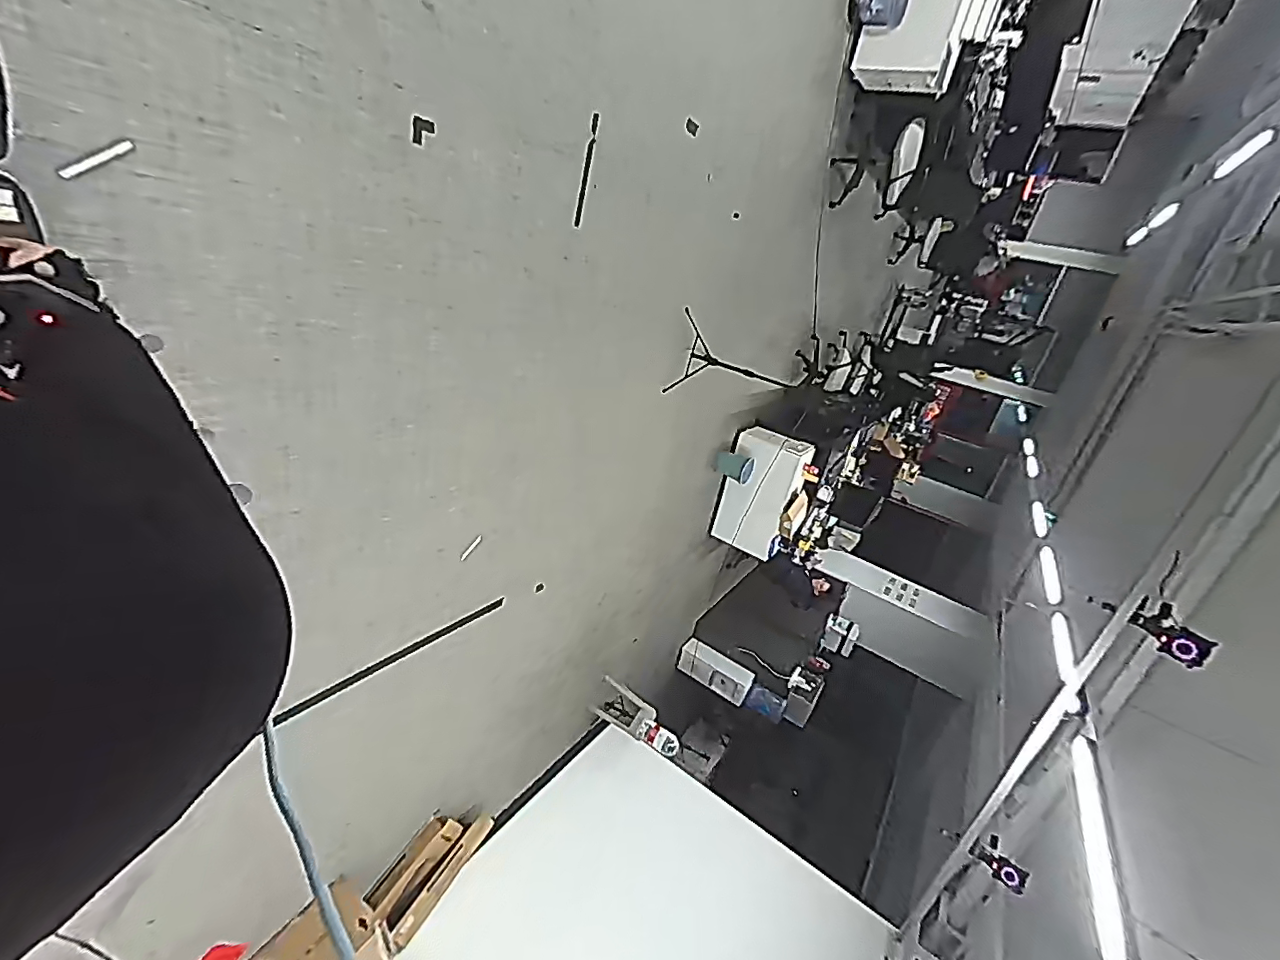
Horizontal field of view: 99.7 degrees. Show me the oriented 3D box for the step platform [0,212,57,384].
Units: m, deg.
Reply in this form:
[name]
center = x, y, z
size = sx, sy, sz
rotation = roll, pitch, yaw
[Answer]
[step platform]
center = -1.286, -0.291, 0.726
size = 0.684, 0.204, 0.286
rotation = -12, 121, -56
